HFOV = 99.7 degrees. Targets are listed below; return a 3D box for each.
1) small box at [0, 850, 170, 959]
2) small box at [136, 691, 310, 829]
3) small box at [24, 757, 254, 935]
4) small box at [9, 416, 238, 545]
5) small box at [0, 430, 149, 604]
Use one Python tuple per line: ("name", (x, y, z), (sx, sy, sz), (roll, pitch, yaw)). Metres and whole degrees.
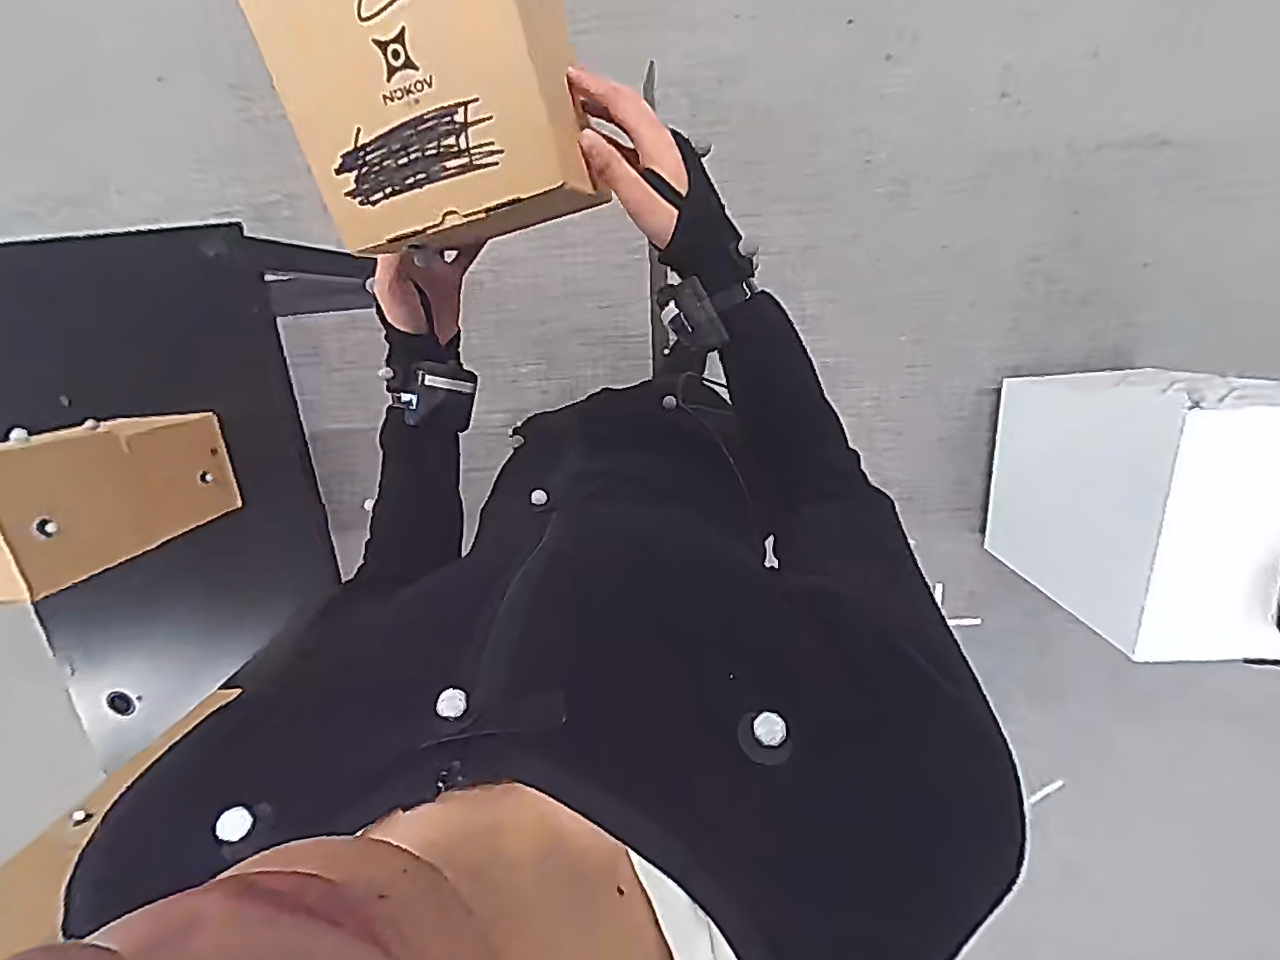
("small box", (-0.766, 0.604, 0.683), (0.179, 0.176, 0.168), (-4, 108, 4))
("small box", (-0.746, 0.510, 0.996), (0.179, 0.176, 0.168), (-4, 106, 4))
("small box", (-0.757, 0.557, 0.839), (0.179, 0.176, 0.168), (-4, 107, 4))
("small box", (-0.788, -0.003, 0.843), (0.179, 0.176, 0.168), (-3, 107, 4))
("small box", (-0.791, 0.044, 0.686), (0.168, 0.176, 0.179), (-6, 106, 5))
